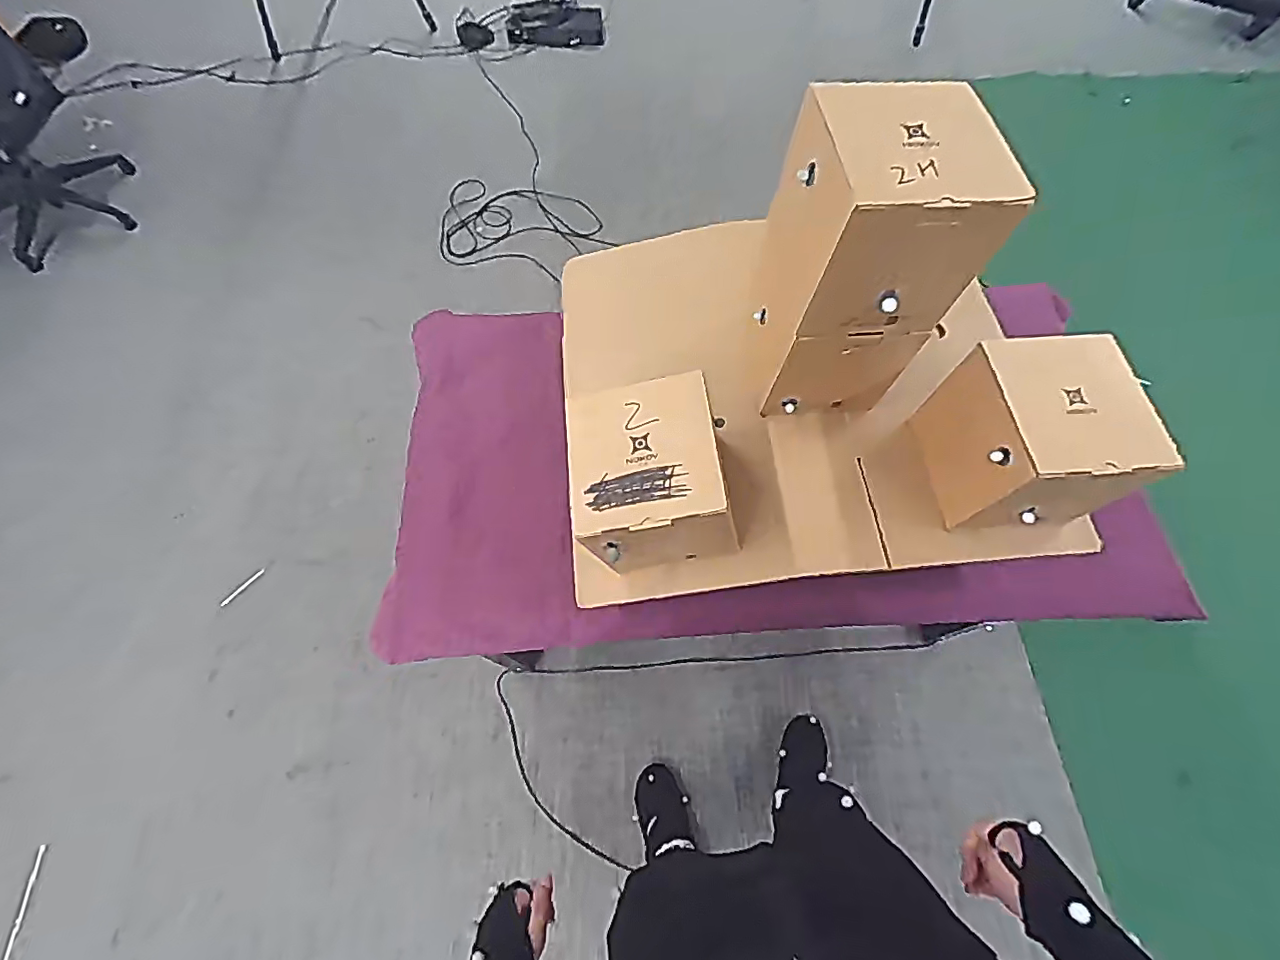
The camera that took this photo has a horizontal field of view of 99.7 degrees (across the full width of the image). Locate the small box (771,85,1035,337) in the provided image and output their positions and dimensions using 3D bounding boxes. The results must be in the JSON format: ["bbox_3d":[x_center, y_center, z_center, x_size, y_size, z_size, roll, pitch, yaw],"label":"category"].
[{"bbox_3d":[0.249,-0.274,0.567,0.168,0.176,0.179,-4,66,-5],"label":"small box"}]

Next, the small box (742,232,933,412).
[{"bbox_3d":[0.243,-0.201,0.714,0.168,0.176,0.179,-4,64,-5],"label":"small box"}]

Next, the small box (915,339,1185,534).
[{"bbox_3d":[0.469,-0.047,0.656,0.168,0.176,0.179,-4,66,-5],"label":"small box"}]
